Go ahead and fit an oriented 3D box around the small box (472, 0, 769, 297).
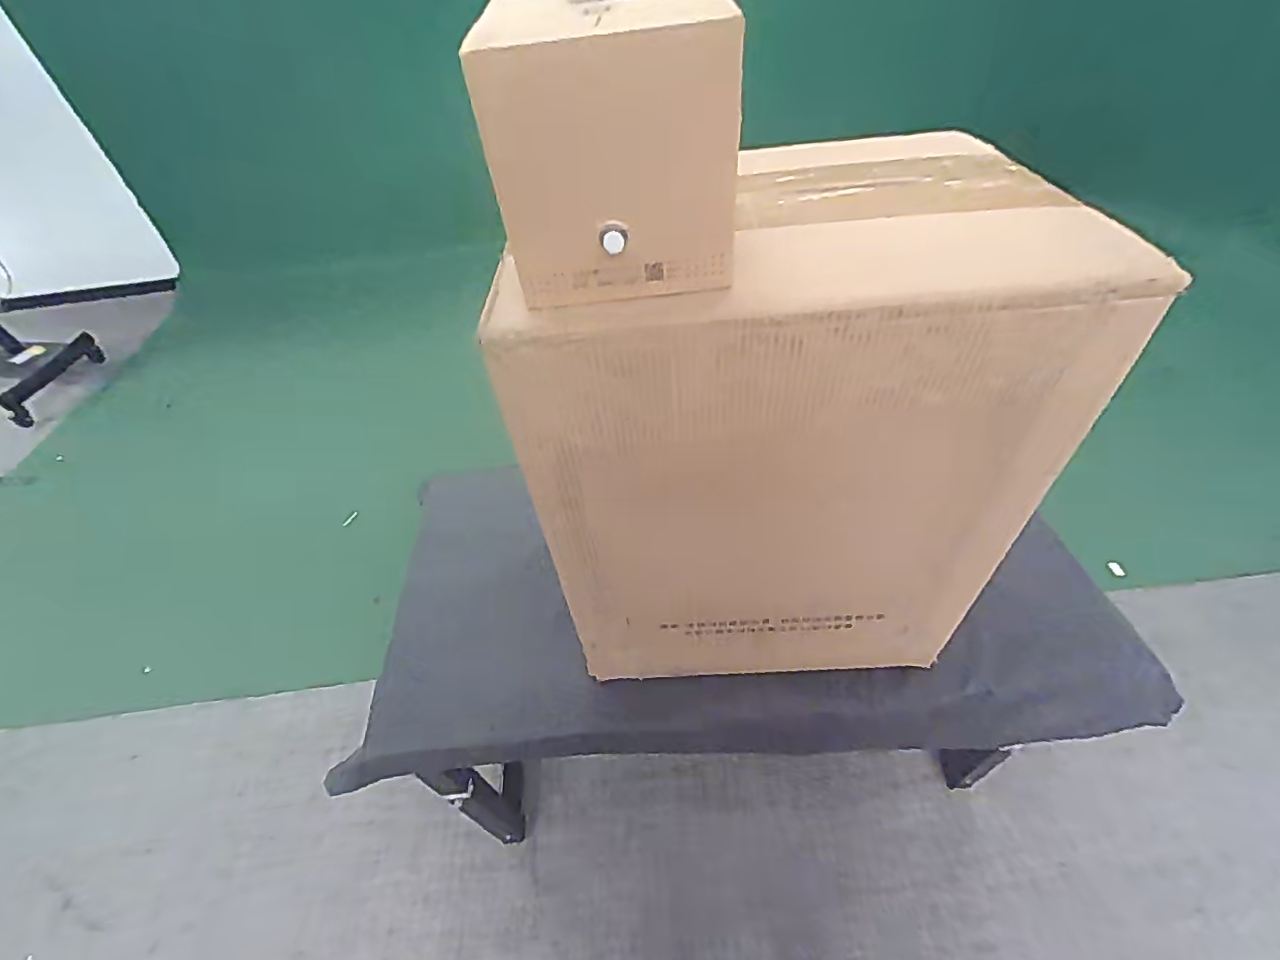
[{"bbox_3d":[-0.006,-0.260,0.406,0.168,0.176,0.179,-3,49,4],"label":"small box"}]
